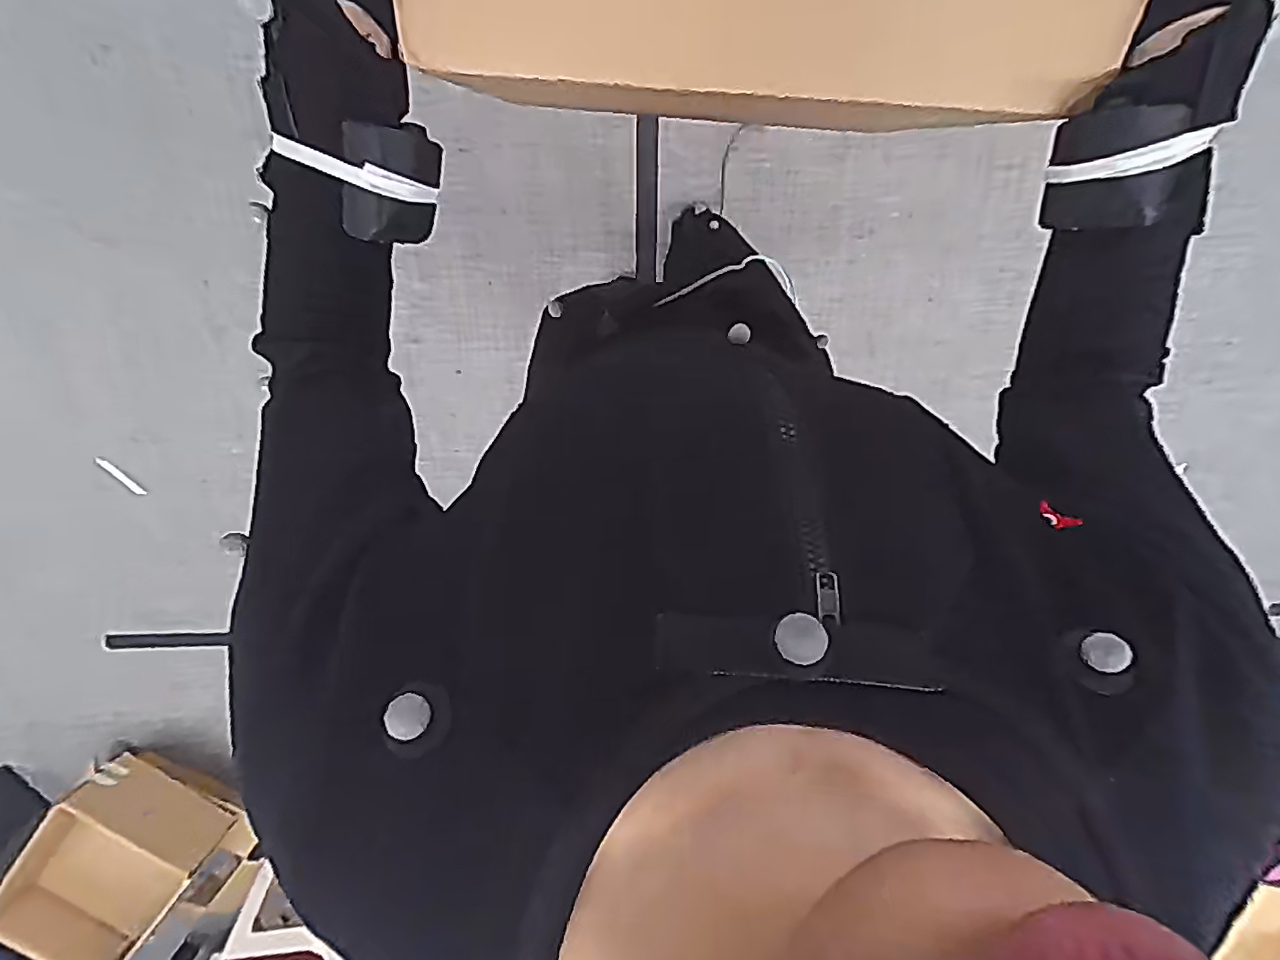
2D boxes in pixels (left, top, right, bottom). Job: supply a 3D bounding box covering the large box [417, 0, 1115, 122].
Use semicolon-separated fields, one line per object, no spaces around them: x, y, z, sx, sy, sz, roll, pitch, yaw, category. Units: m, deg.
0.073;-0.444;0.370;0.408;0.320;0.320;2;123;-3;large box
